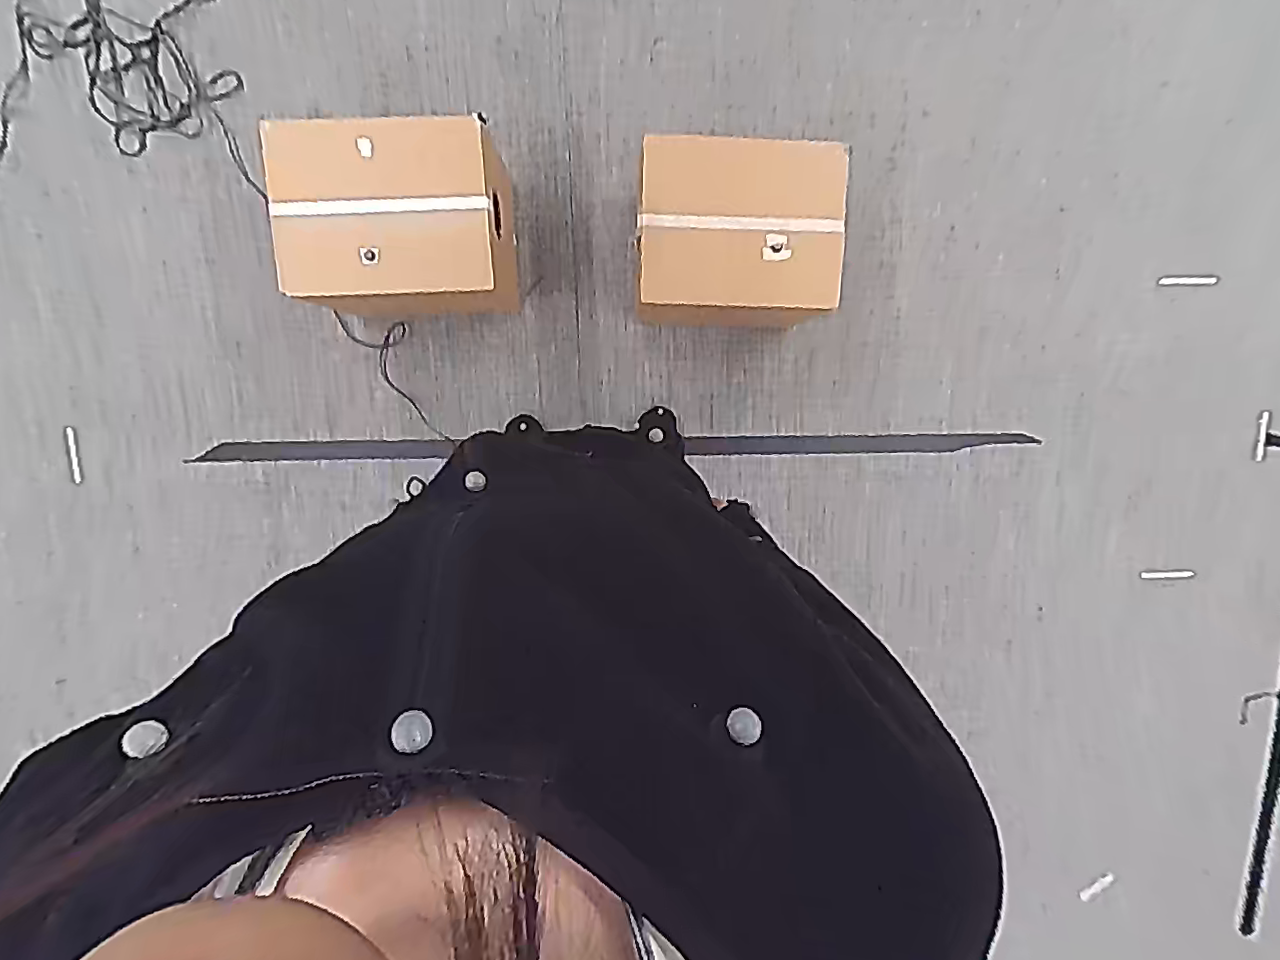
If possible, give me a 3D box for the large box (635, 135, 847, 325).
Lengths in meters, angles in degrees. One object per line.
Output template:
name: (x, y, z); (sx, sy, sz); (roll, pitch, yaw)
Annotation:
large box: (0.197, -0.529, 1.214); (0.408, 0.320, 0.320); (1, 99, -4)
